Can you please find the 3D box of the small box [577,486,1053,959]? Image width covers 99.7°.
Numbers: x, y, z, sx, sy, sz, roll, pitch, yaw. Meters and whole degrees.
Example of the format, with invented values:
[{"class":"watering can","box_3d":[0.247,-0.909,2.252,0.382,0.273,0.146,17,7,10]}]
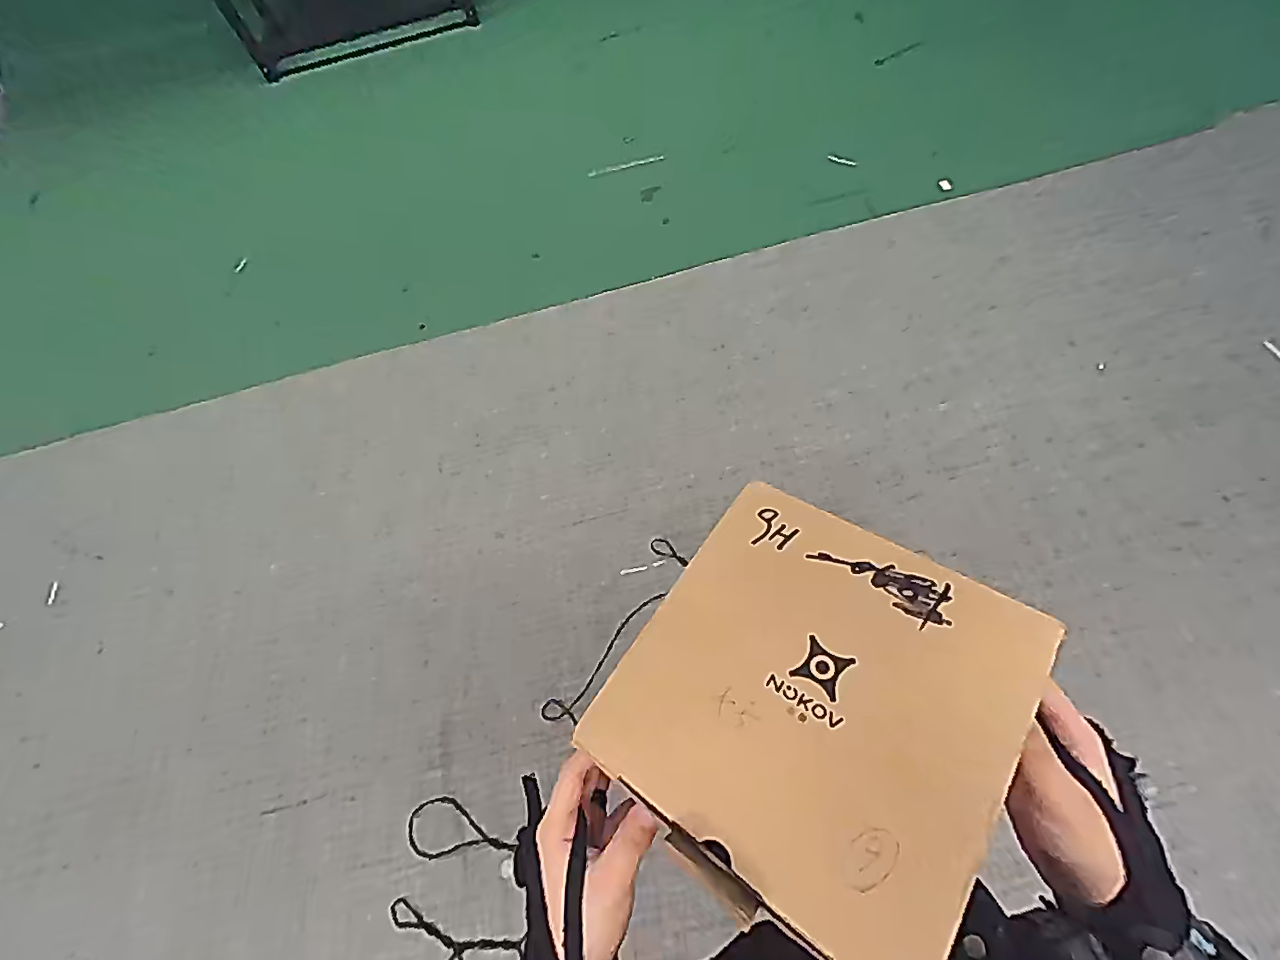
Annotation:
[{"class":"small box","box_3d":[0.096,0.143,0.325,0.168,0.176,0.179,28,67,28]}]
